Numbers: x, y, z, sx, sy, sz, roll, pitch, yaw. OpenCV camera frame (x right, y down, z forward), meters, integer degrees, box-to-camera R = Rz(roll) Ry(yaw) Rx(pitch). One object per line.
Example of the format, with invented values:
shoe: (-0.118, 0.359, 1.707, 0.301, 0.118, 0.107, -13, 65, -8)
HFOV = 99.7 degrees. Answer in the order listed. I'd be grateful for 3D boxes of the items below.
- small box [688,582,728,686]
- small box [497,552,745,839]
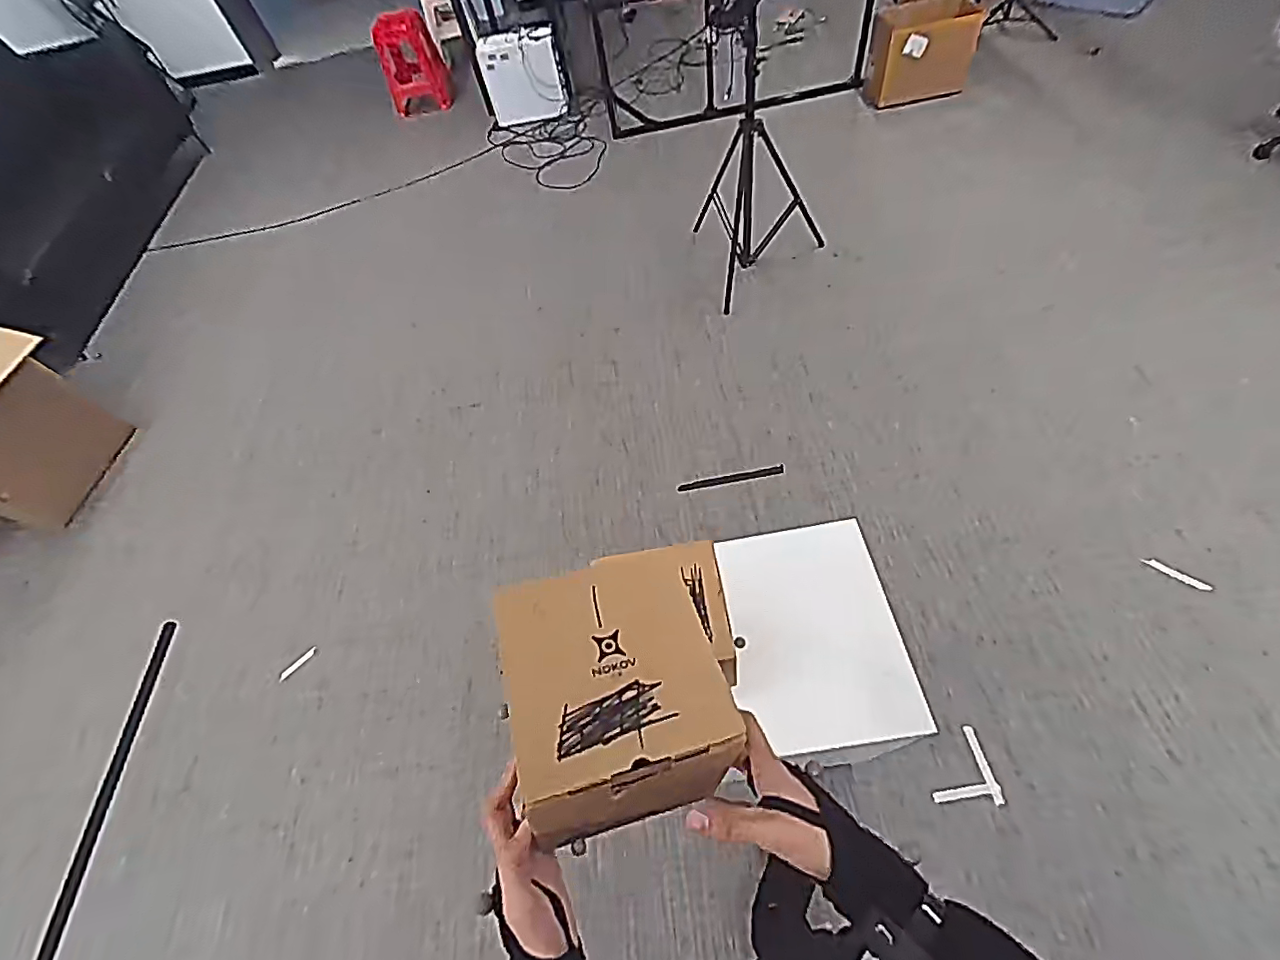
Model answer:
small box: (0.056, 0.294, 0.913, 0.168, 0.176, 0.179, -9, 57, 3)
small box: (-0.026, 0.196, 0.486, 0.168, 0.176, 0.179, -10, 48, -14)
